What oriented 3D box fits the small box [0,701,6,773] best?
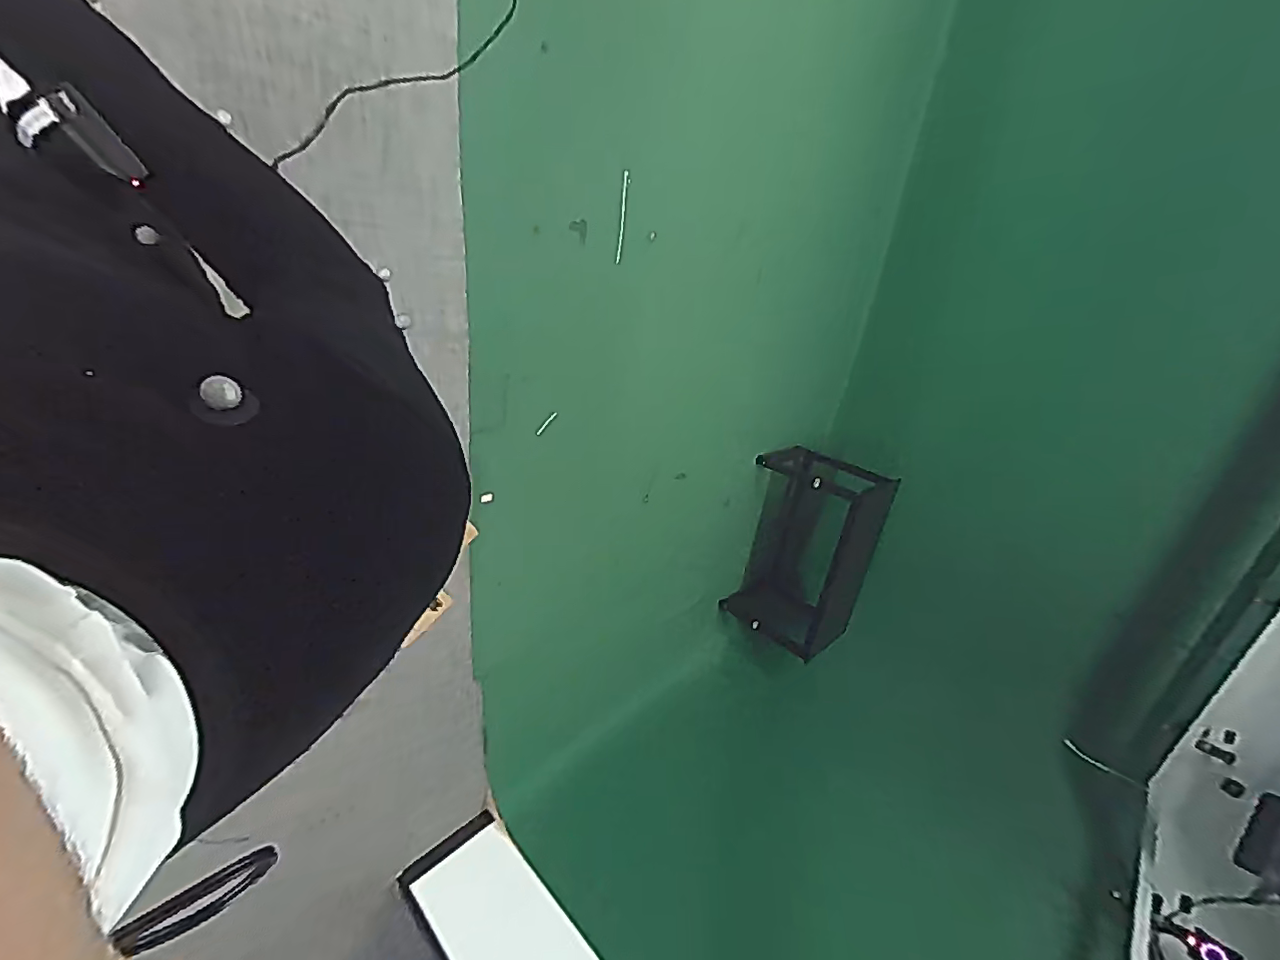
[{"bbox_3d":[-1.200,0.409,0.899,0.168,0.176,0.179,-12,119,-46],"label":"small box"}]
